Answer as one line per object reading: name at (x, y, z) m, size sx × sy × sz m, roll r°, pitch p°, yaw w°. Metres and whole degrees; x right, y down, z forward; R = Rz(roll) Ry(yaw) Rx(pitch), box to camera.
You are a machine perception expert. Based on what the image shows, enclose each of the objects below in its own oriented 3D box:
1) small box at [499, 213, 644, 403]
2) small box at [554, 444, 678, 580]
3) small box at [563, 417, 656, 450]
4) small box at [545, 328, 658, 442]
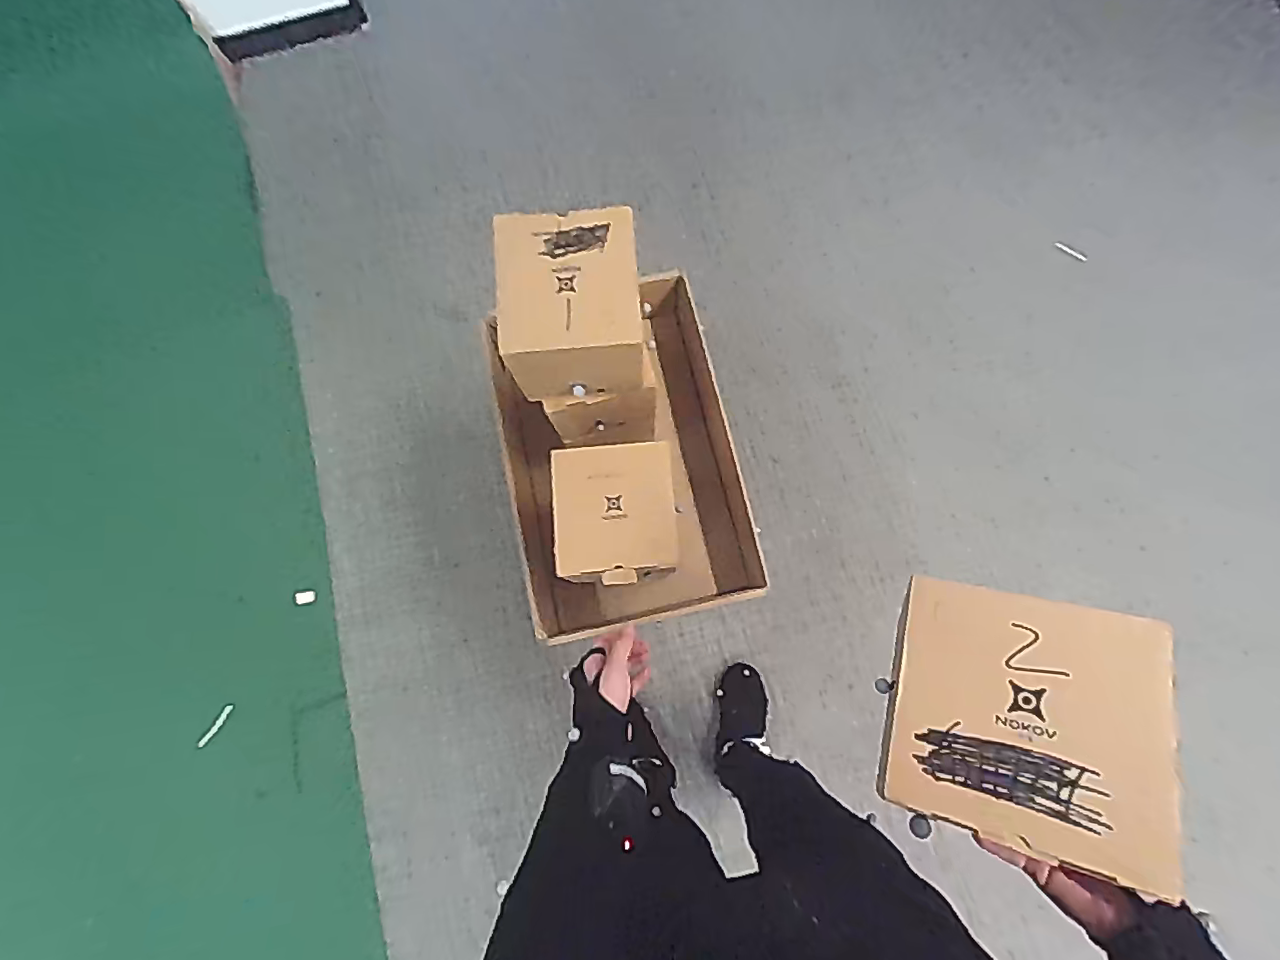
small box at (-0.082, -0.215, 0.708) m, size 0.168 × 0.176 × 0.179 m, roll -5°, pitch 79°, yaw 1°
small box at (-0.031, 0.057, 0.808) m, size 0.168 × 0.176 × 0.179 m, roll -4°, pitch 76°, yaw 0°
small box at (-0.068, -0.148, 1.027) m, size 0.168 × 0.176 × 0.179 m, roll -14°, pitch 79°, yaw -1°
small box at (-0.072, -0.178, 0.868) m, size 0.168 × 0.176 × 0.179 m, roll -14°, pitch 79°, yaw -2°
